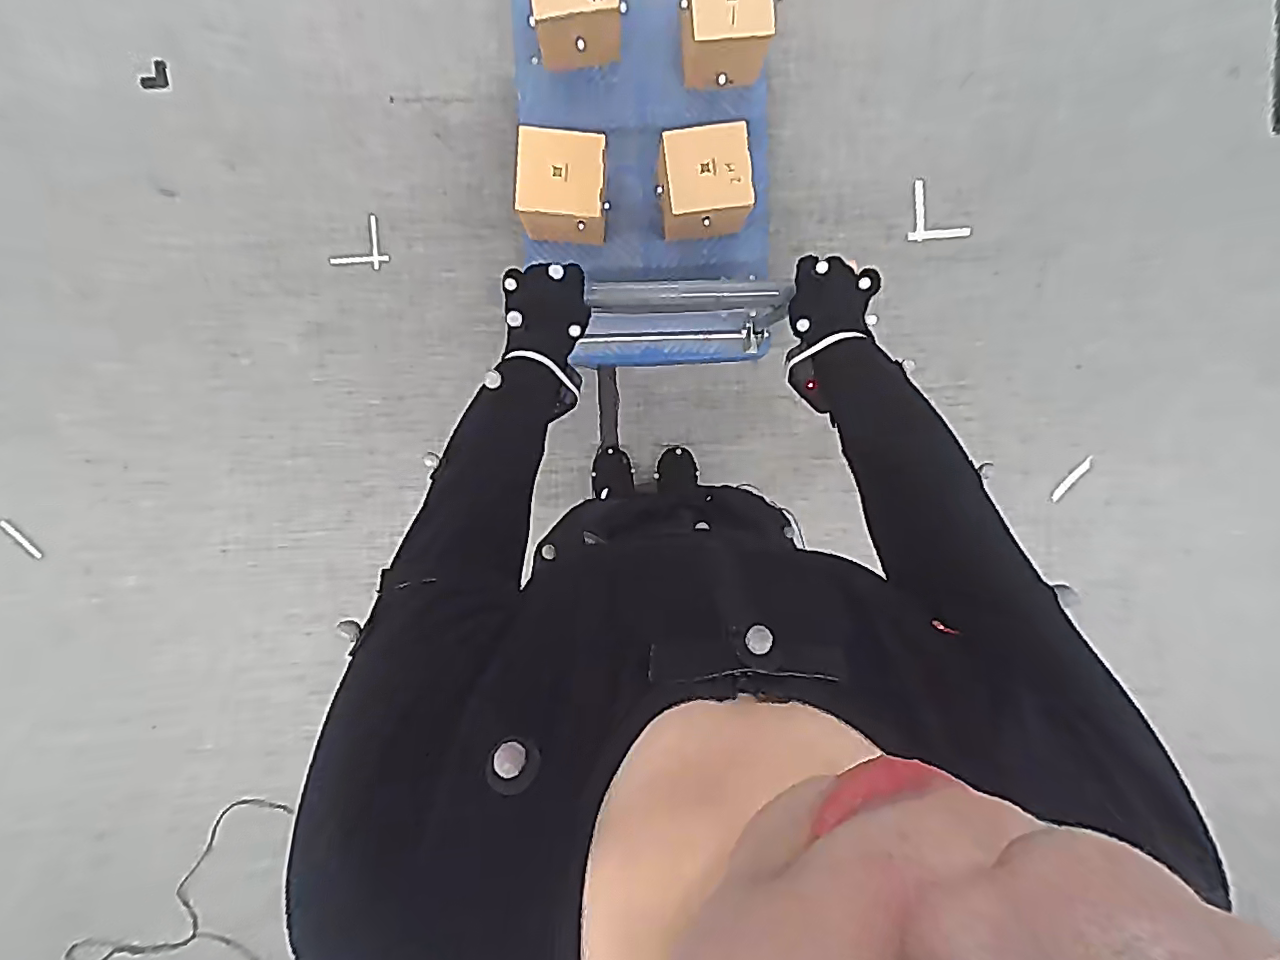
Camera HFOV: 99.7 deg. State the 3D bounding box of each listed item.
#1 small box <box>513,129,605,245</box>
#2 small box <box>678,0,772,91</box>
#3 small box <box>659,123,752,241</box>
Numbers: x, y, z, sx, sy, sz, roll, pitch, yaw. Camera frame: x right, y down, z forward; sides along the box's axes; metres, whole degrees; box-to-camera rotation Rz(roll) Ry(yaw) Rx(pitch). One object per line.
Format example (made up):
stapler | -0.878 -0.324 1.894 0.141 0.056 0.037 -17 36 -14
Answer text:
small box | -0.169 -0.625 1.174 0.179 0.176 0.168 3 94 -3
small box | 0.175 -0.975 1.152 0.168 0.176 0.179 -5 96 -1
small box | 0.135 -0.639 1.181 0.179 0.176 0.168 -8 95 -1
